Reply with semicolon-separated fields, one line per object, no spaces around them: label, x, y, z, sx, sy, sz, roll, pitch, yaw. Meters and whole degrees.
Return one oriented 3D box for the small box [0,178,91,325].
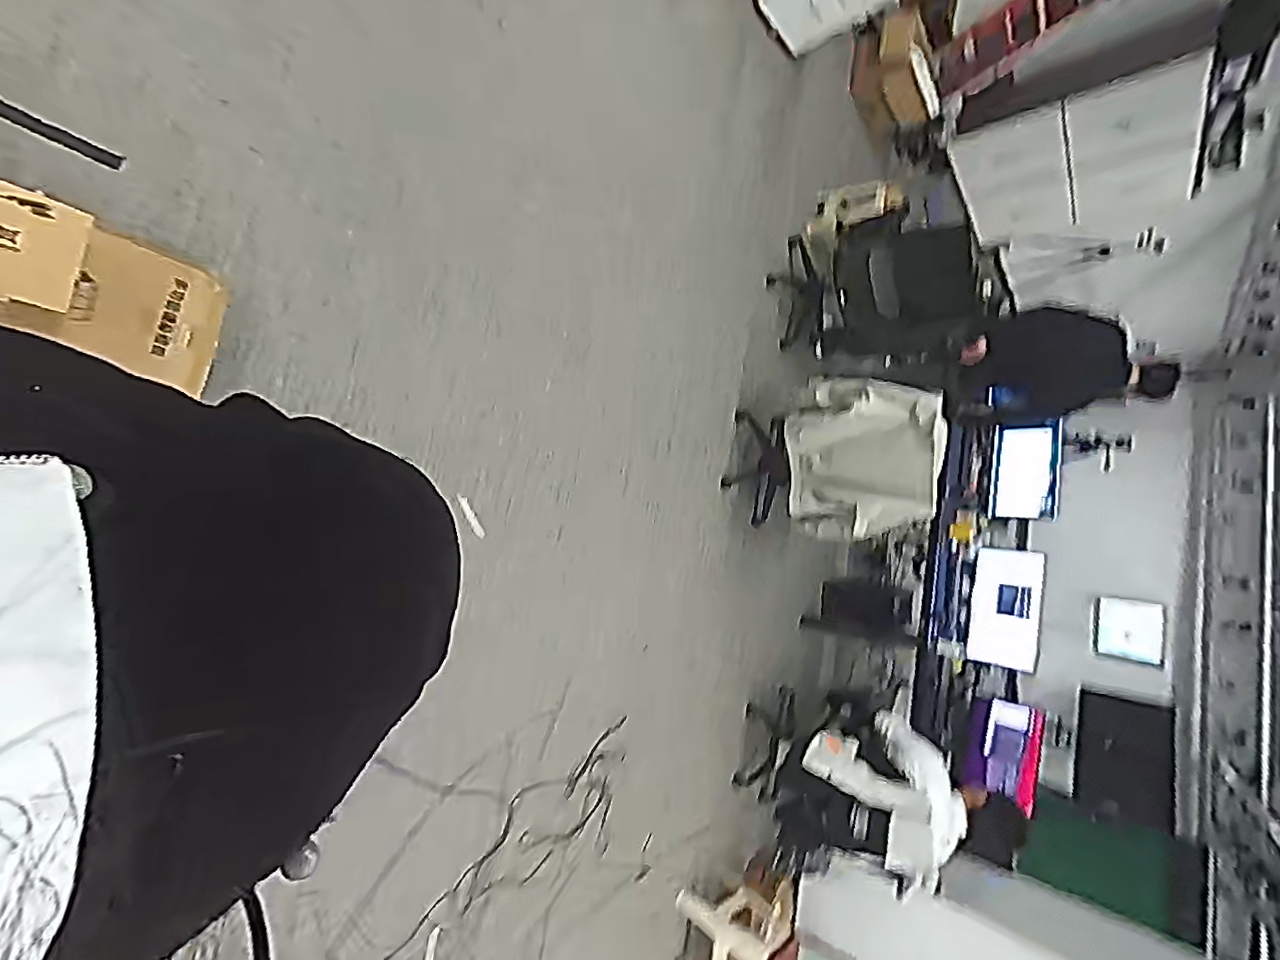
small box;-1.018;-0.368;0.867;0.168;0.176;0.179;17;79;-45
